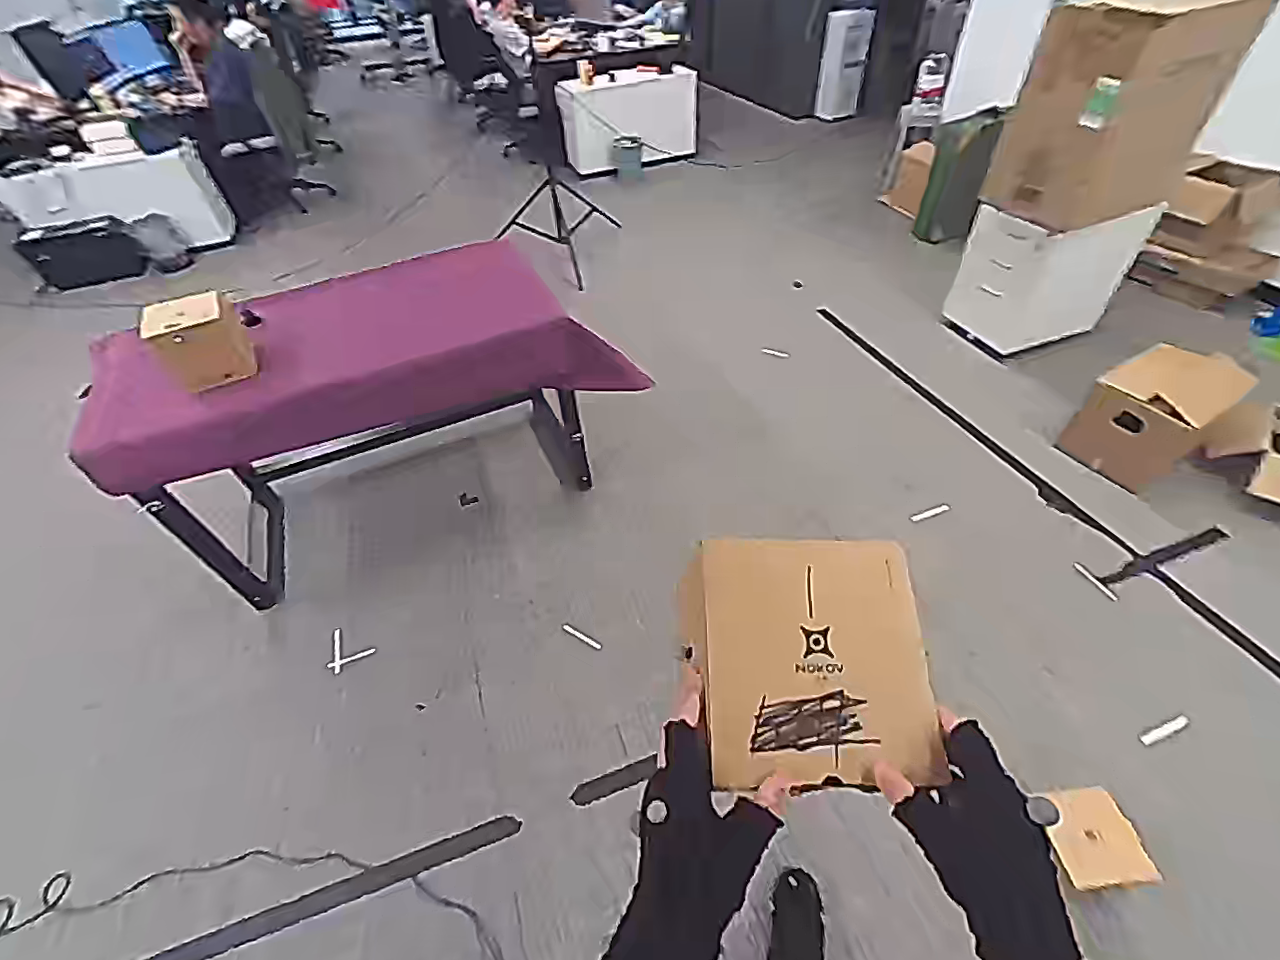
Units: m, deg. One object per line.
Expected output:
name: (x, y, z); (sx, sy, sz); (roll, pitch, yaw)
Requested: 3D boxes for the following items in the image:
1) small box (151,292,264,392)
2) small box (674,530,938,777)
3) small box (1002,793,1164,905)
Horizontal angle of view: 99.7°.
small box: (-1.104, -0.355, 1.394); (0.168, 0.176, 0.179); (-24, 49, -18)
small box: (0.121, 0.154, 0.474); (0.168, 0.176, 0.179); (1, 64, -3)
small box: (0.930, 0.791, 1.156); (0.179, 0.176, 0.168); (-6, 45, 0)
